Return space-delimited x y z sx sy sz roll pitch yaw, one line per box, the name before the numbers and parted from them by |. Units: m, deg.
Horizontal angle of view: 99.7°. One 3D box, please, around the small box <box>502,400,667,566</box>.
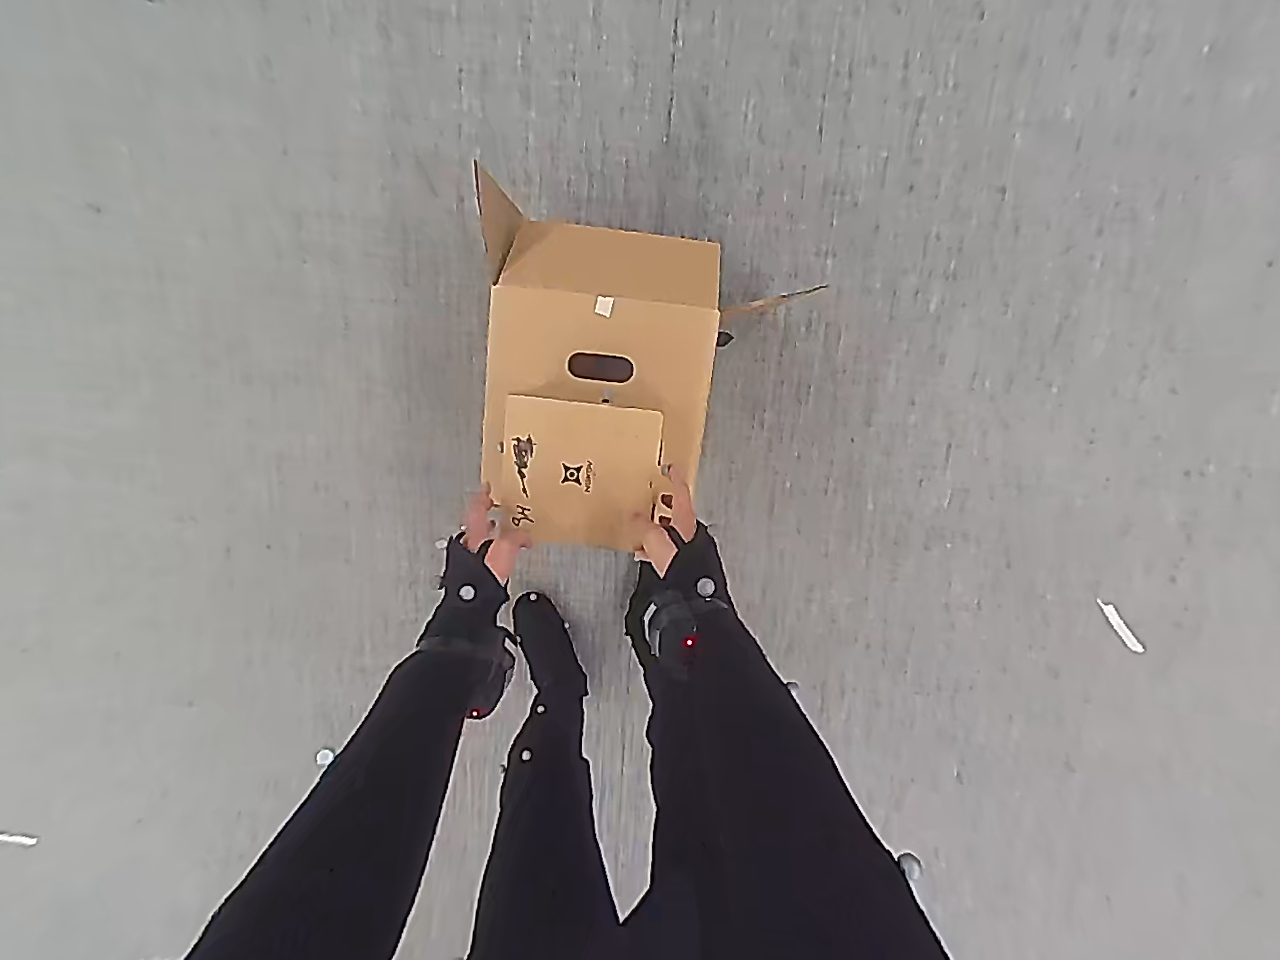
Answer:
small box | -0.063 -0.007 0.687 0.179 0.176 0.168 7 104 1
